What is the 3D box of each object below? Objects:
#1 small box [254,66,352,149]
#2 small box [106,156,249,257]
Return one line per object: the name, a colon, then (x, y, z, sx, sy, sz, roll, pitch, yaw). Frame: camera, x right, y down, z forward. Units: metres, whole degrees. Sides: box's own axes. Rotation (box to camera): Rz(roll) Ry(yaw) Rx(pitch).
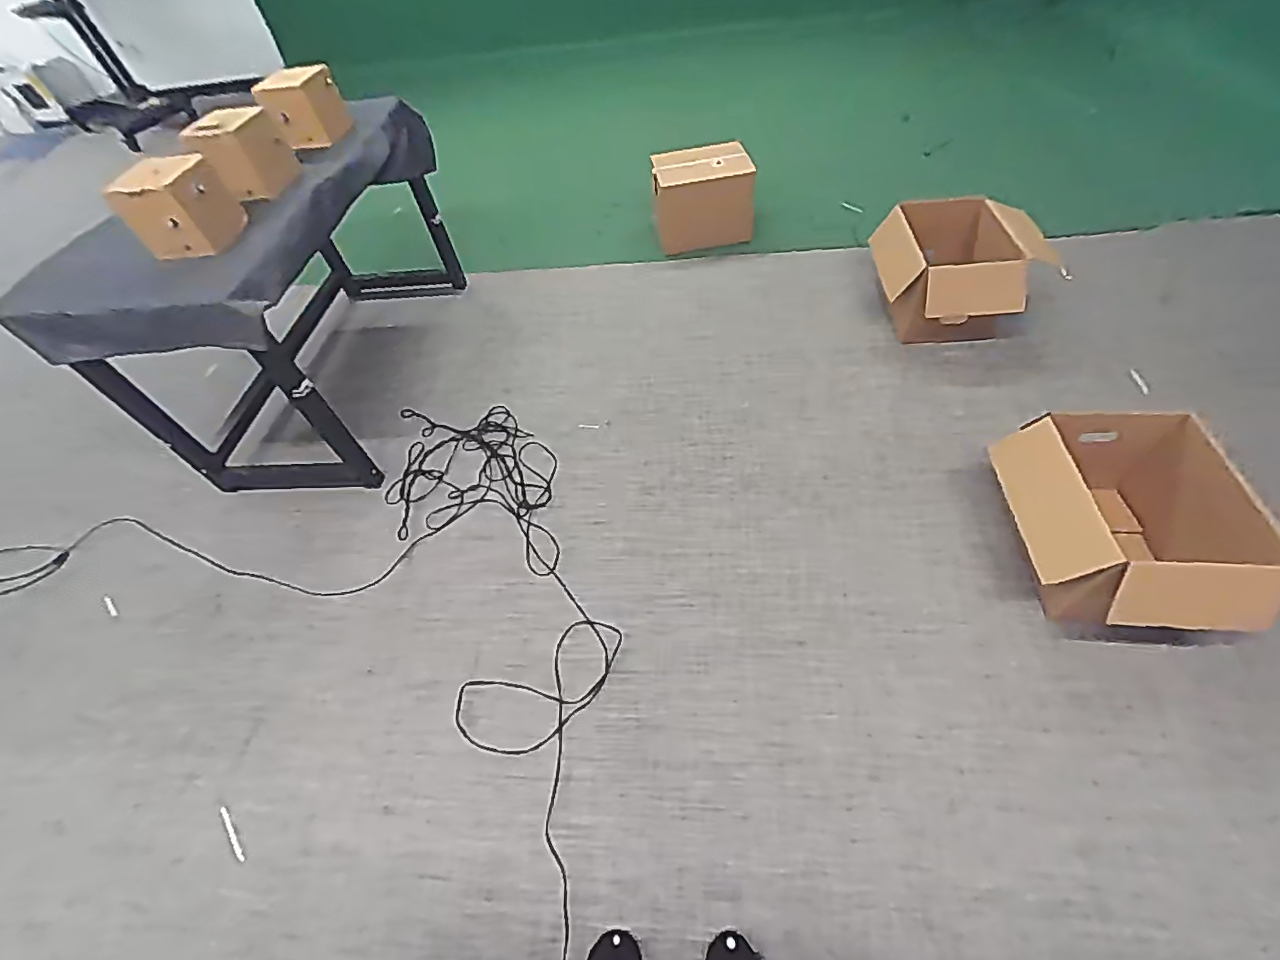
small box: (-1.039, -1.158, 1.689, 0.168, 0.176, 0.179, 0, 53, 8)
small box: (-1.116, -0.663, 1.324, 0.168, 0.176, 0.179, -2, 52, 5)
